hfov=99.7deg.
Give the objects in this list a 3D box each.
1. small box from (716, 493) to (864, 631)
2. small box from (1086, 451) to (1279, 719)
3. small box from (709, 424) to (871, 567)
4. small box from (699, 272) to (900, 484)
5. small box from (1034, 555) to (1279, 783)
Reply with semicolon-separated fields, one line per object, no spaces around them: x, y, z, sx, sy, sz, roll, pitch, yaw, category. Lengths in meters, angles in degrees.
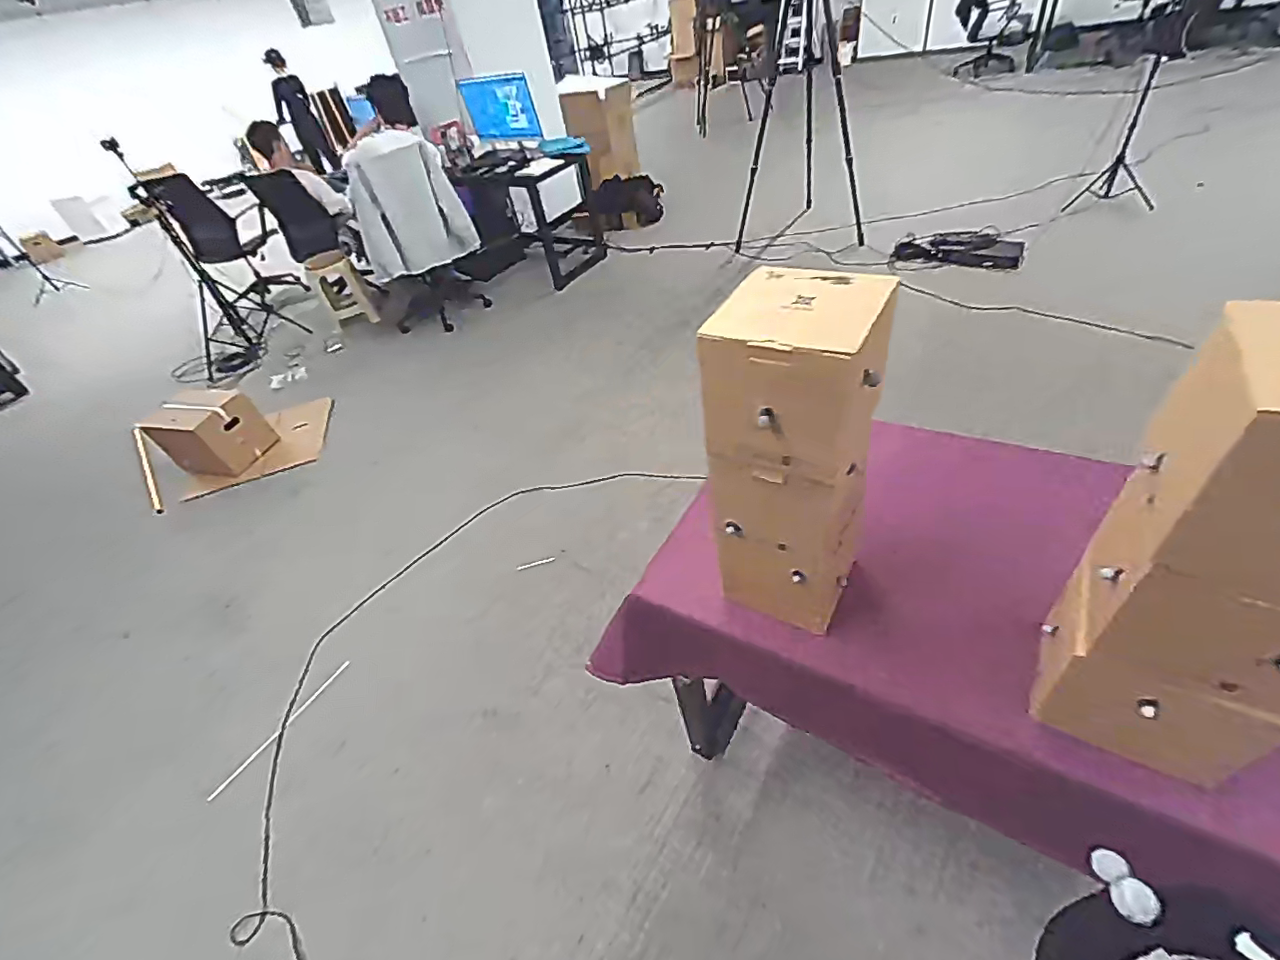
0.237;0.111;0.863;0.179;0.176;0.168;17;50;28;small box
0.580;0.102;0.541;0.168;0.176;0.179;16;49;28;small box
0.212;-0.009;0.754;0.168;0.176;0.179;17;48;28;small box
0.187;-0.122;0.636;0.168;0.176;0.179;18;51;28;small box
0.604;0.224;0.646;0.179;0.176;0.168;18;51;30;small box
